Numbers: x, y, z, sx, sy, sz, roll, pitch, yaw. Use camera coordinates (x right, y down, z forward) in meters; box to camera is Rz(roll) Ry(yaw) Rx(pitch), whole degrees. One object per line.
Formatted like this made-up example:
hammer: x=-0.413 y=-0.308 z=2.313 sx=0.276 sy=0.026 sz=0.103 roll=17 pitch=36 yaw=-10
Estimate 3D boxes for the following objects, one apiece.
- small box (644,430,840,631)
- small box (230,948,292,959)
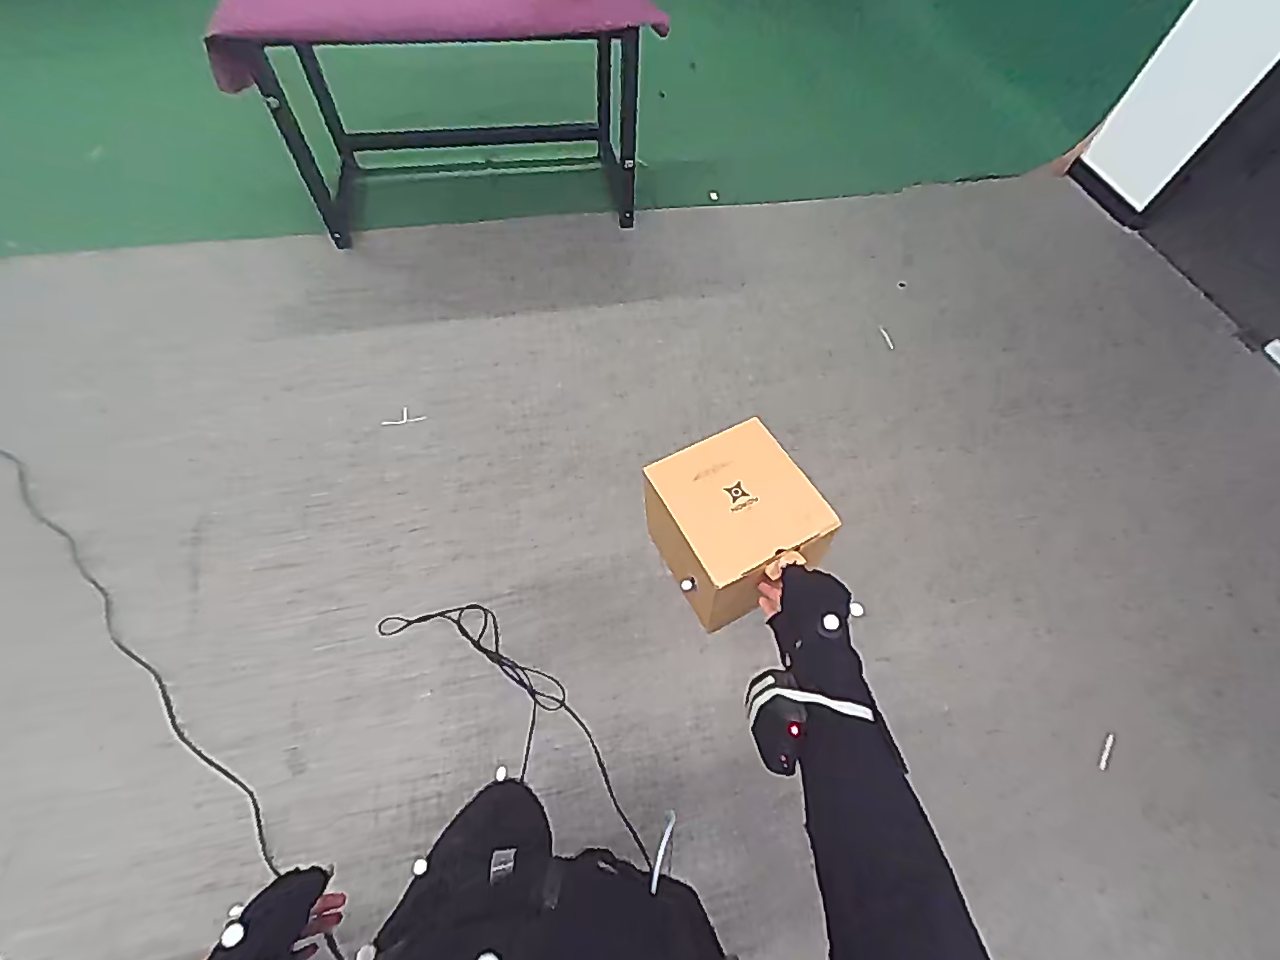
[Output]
small box: x=0.118 y=0.074 z=0.692 sx=0.168 sy=0.176 sz=0.179 roll=-24 pitch=59 yaw=-12
small box: x=-0.750 y=0.967 z=0.959 sx=0.168 sy=0.176 sz=0.179 roll=-11 pitch=59 yaw=-7
